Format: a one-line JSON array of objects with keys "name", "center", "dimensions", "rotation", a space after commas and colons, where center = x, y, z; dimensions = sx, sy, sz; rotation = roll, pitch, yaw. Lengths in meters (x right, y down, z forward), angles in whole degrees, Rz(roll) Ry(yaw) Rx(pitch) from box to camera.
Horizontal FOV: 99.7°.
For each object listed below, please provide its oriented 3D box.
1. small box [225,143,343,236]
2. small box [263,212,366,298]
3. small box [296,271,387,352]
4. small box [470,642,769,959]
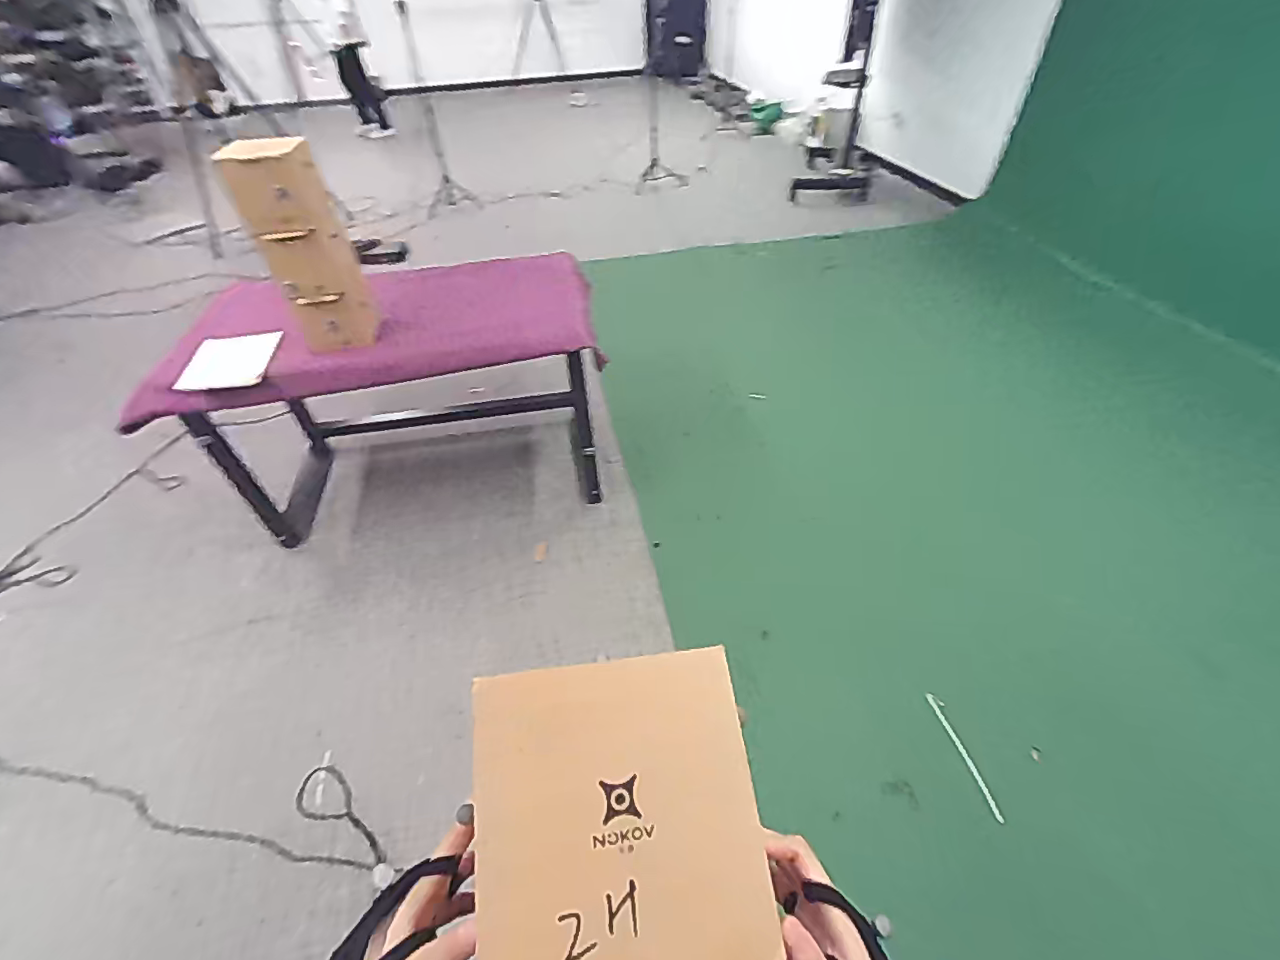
[{"name": "small box", "center": [-0.869, -0.716, 1.342], "dimensions": [0.168, 0.176, 0.179], "rotation": [-7, 43, -5]}, {"name": "small box", "center": [-0.864, -0.601, 1.458], "dimensions": [0.168, 0.176, 0.179], "rotation": [-8, 43, -5]}, {"name": "small box", "center": [-0.860, -0.487, 1.577], "dimensions": [0.168, 0.176, 0.179], "rotation": [-7, 45, -6]}, {"name": "small box", "center": [-0.029, 0.229, 0.394], "dimensions": [0.168, 0.176, 0.179], "rotation": [-5, 66, -10]}]
